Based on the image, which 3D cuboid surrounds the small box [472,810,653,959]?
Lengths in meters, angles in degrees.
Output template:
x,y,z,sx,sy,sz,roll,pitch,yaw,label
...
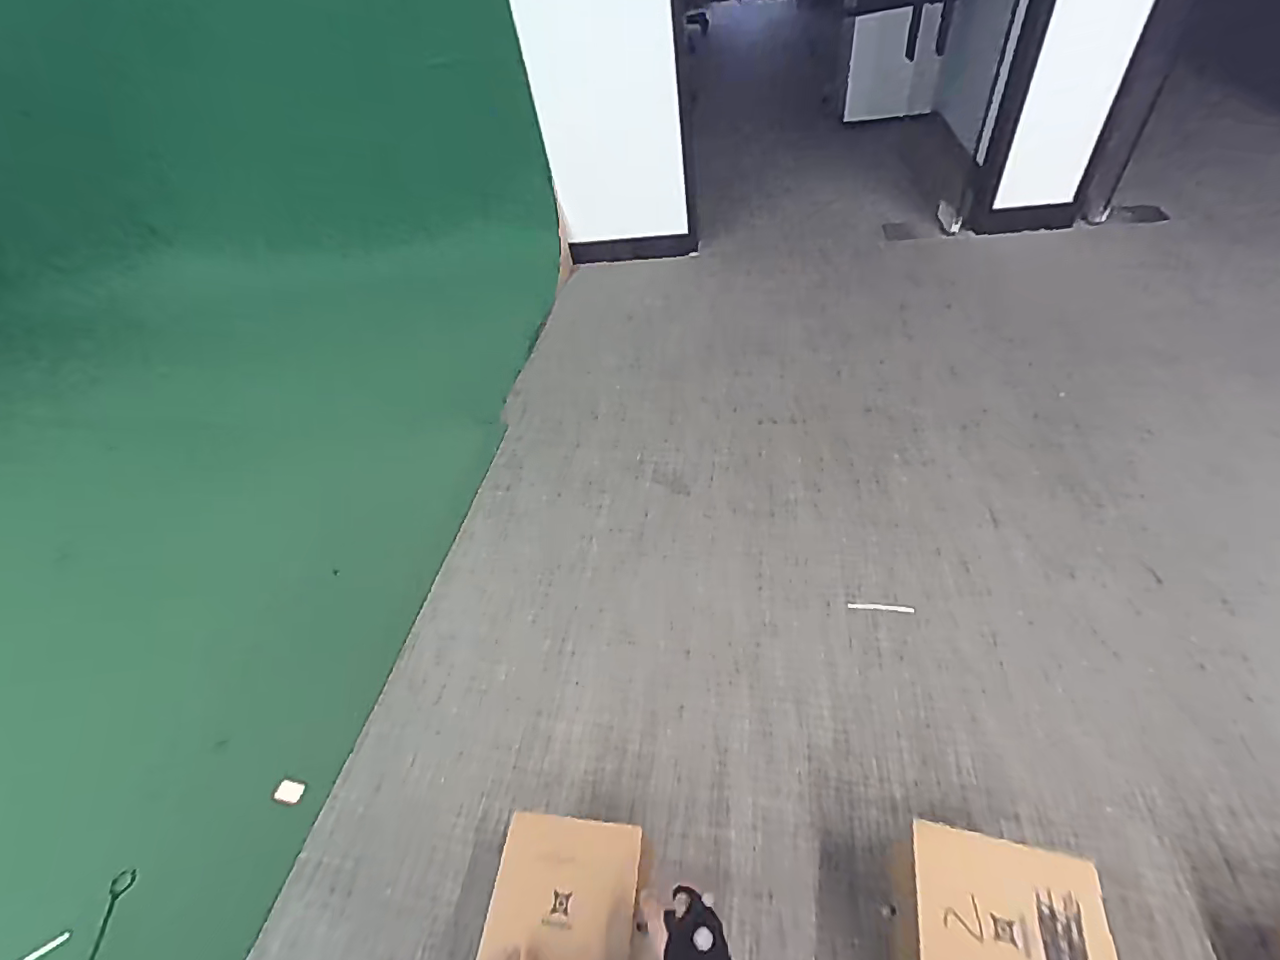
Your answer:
x,y,z,sx,sy,sz,roll,pitch,yaw,label
-0.081,0.530,0.657,0.168,0.176,0.179,1,46,11,small box
